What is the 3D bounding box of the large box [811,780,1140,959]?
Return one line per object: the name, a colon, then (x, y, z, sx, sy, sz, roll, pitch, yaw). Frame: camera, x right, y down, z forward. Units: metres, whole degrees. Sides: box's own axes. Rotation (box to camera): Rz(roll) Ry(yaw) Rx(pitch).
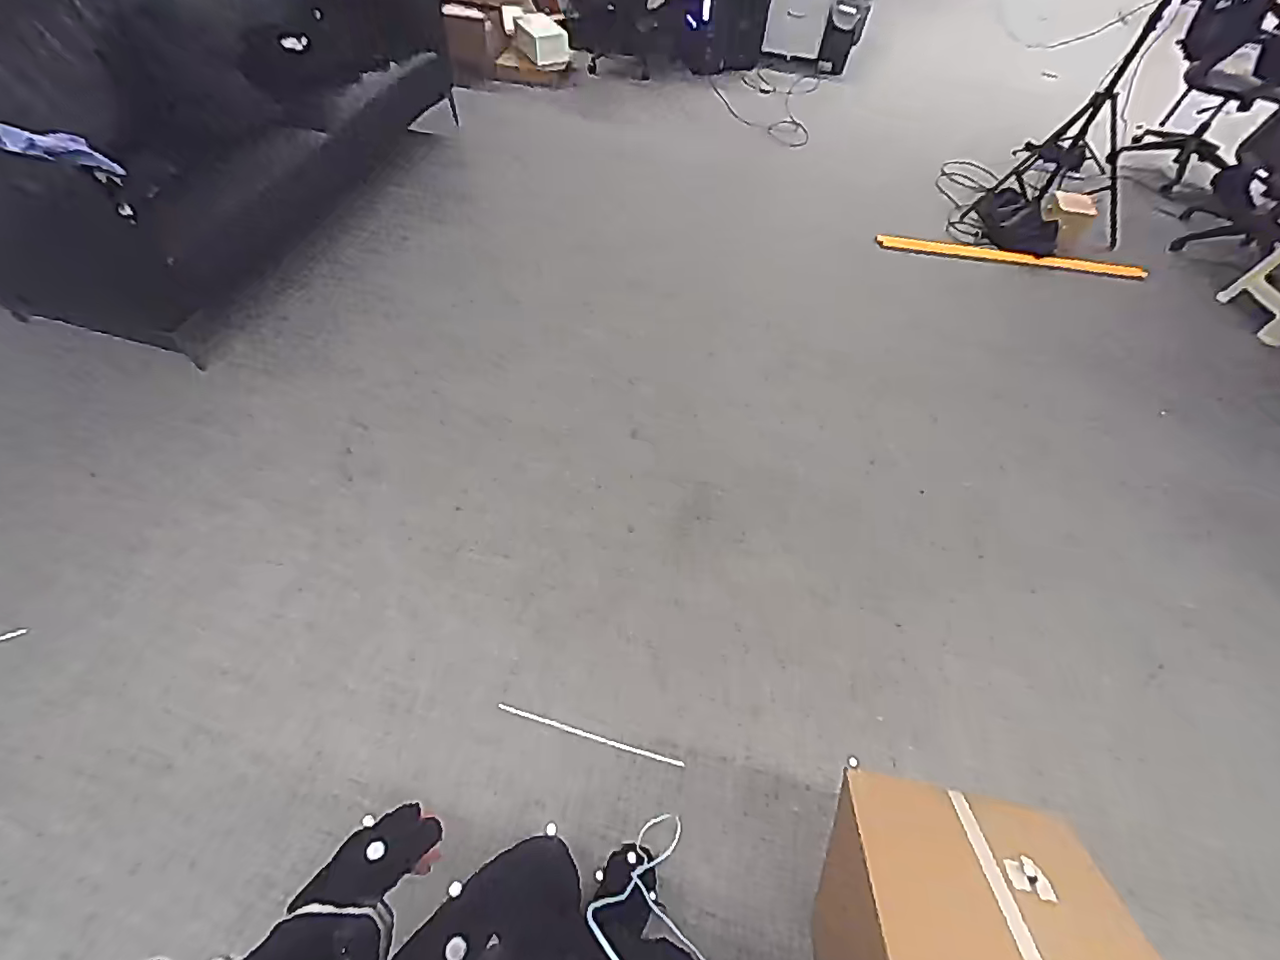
large box: (0.414, 0.680, 0.674, 0.320, 0.320, 0.408, 9, 14, 9)
